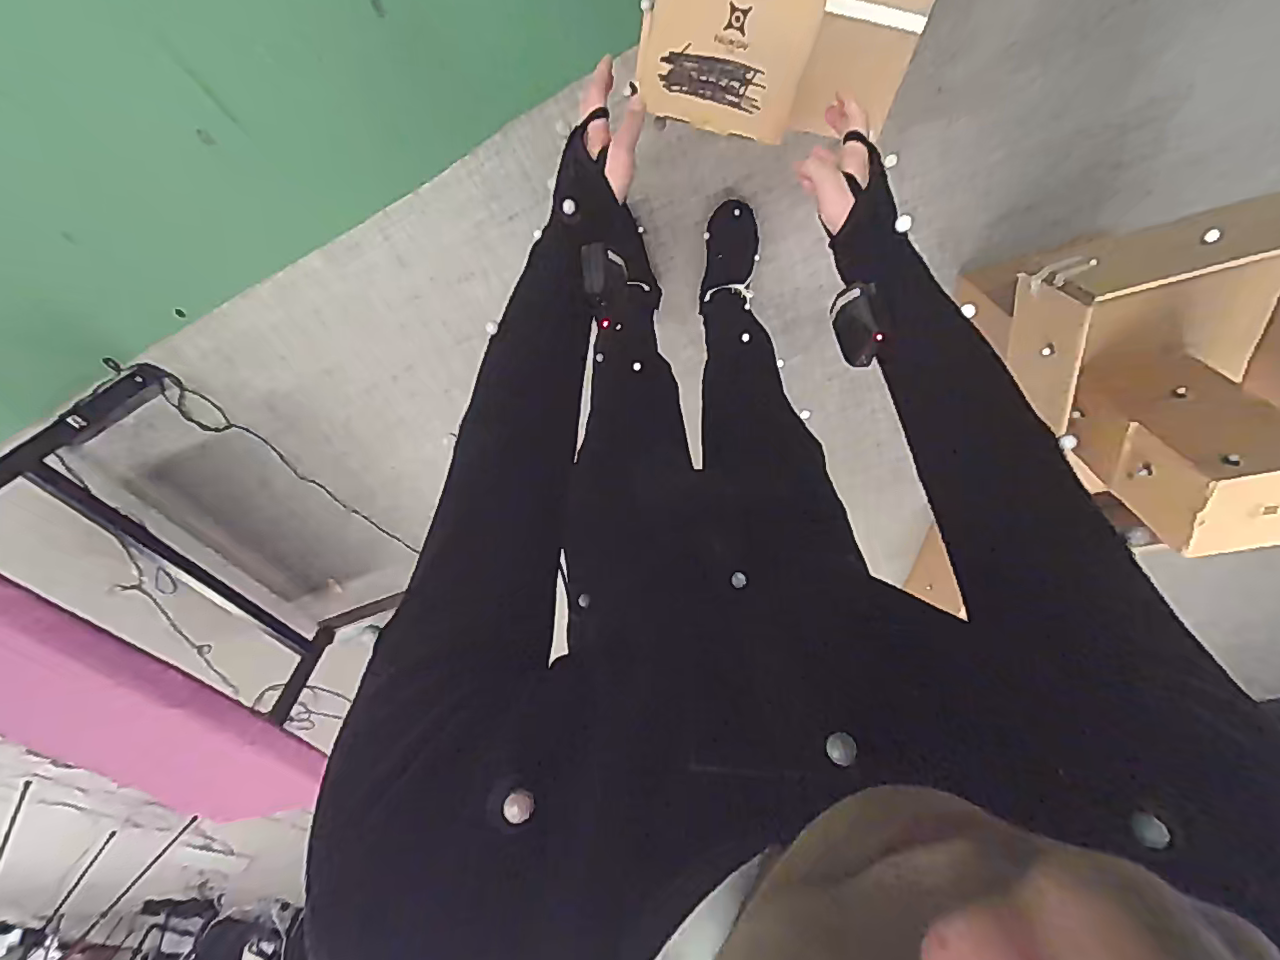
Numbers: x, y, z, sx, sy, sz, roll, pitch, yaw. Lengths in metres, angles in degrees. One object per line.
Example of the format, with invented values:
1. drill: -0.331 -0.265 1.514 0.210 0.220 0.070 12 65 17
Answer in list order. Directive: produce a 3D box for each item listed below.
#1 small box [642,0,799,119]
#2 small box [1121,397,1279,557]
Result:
1. small box: 0.104 -0.612 0.718 0.168 0.176 0.179 11 129 -8
2. small box: 0.919 -0.008 0.845 0.179 0.176 0.168 -12 127 13
